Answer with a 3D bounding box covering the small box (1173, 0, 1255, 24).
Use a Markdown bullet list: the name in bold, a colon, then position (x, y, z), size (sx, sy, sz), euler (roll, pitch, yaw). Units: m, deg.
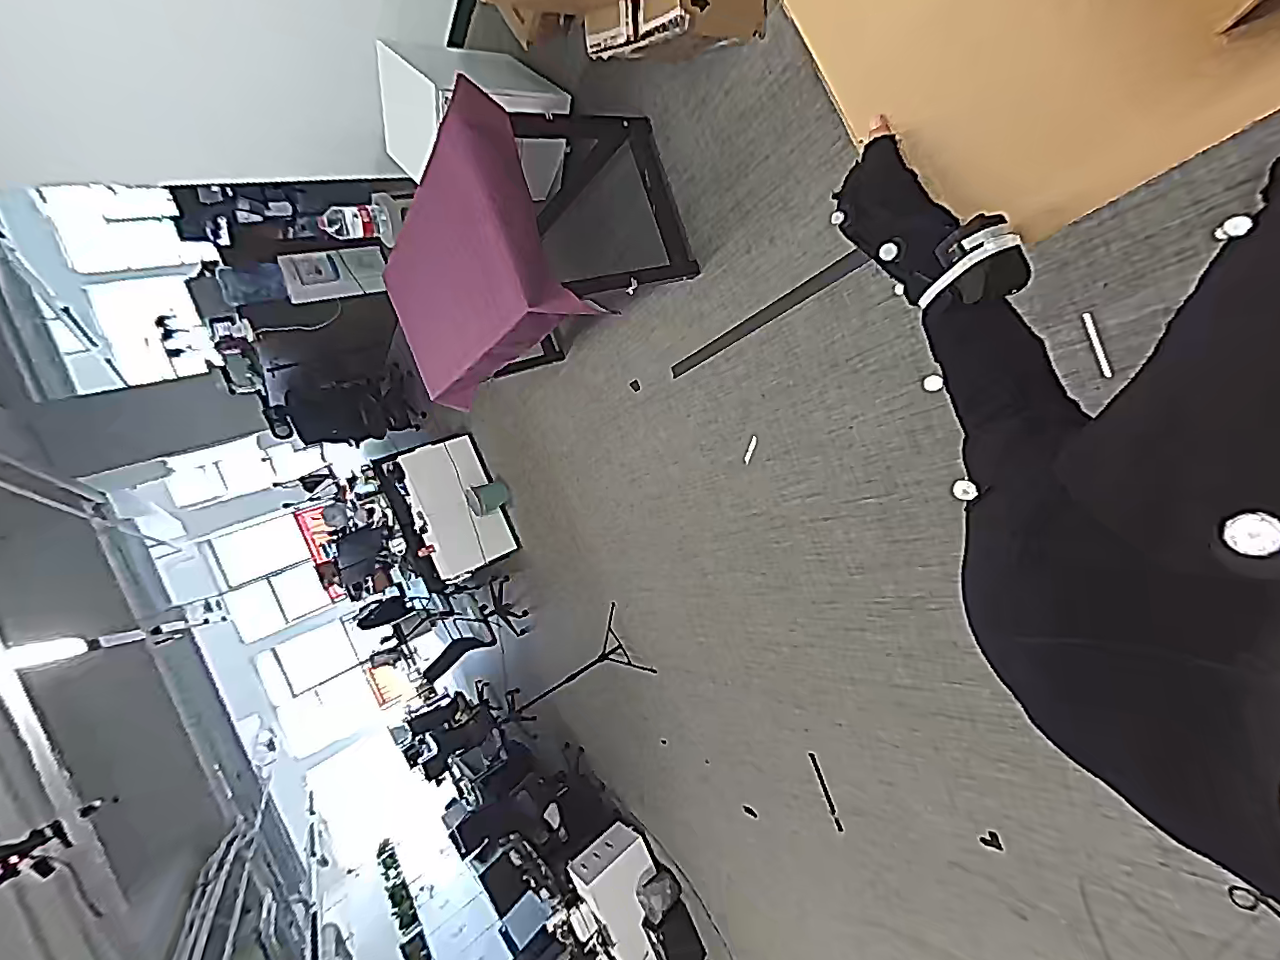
- **small box**: position (0.353, -0.382, 0.262), size (0.168, 0.176, 0.179), euler (52, 133, 2)
